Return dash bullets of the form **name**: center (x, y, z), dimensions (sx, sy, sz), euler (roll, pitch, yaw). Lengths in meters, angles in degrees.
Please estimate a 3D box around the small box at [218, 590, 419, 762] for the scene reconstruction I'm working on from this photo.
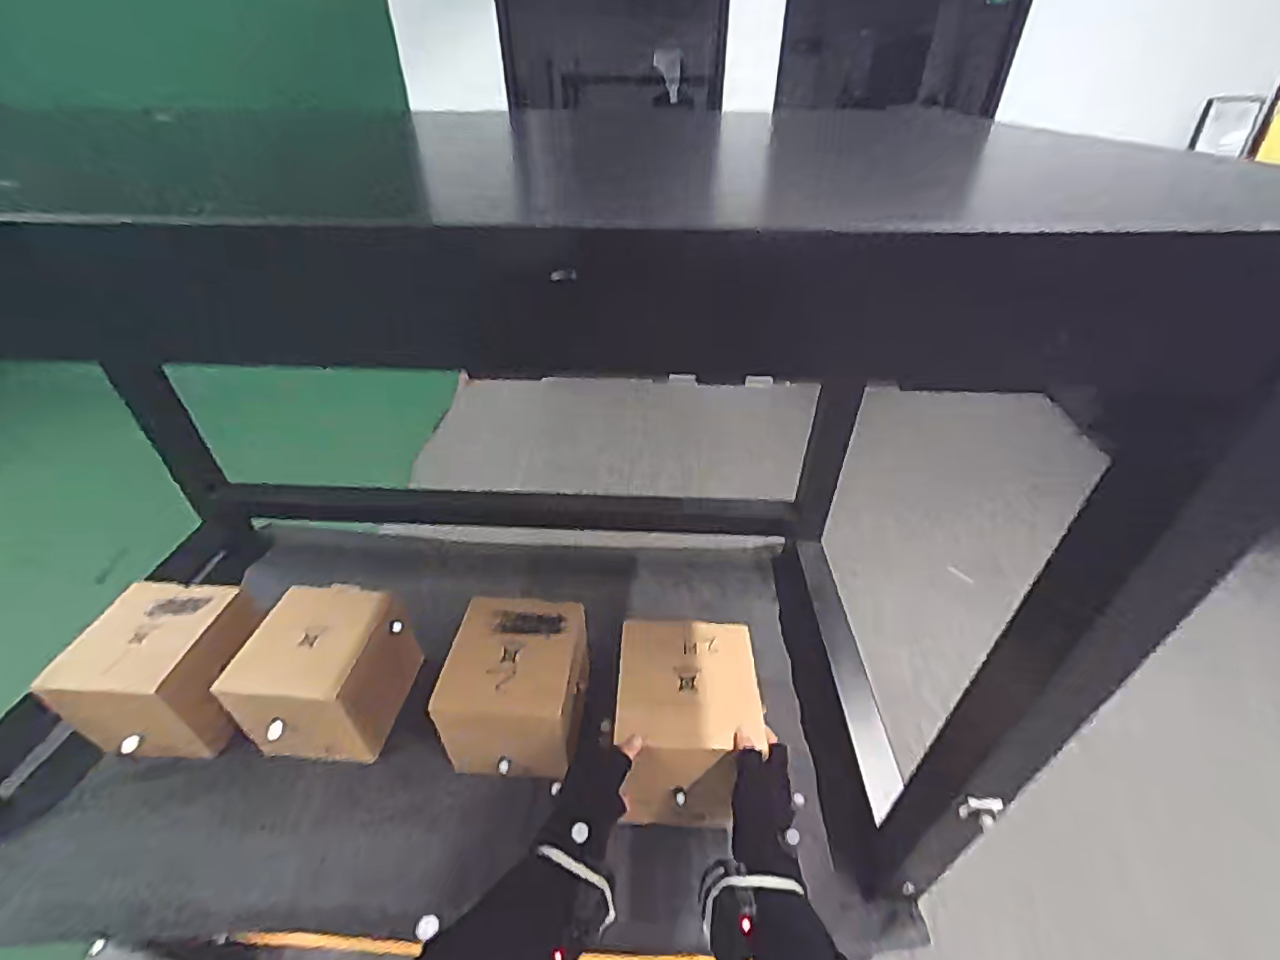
- **small box**: center (-0.445, 0.285, 0.788), dimensions (0.168, 0.176, 0.179), euler (3, 36, 3)

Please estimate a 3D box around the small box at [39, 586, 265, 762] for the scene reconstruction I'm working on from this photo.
- **small box**: center (-0.673, 0.280, 0.790), dimensions (0.168, 0.176, 0.179), euler (2, 37, 2)
